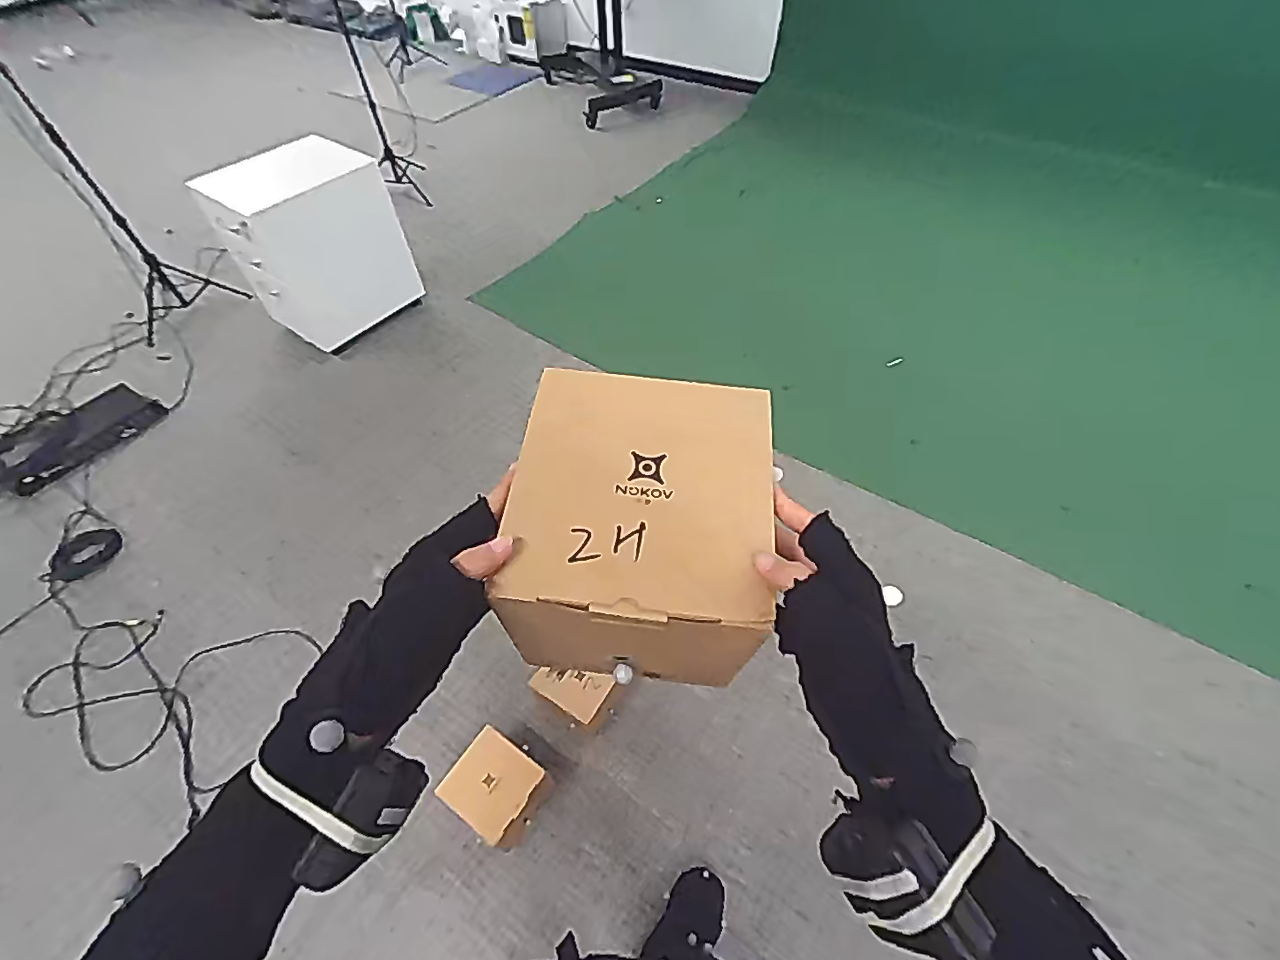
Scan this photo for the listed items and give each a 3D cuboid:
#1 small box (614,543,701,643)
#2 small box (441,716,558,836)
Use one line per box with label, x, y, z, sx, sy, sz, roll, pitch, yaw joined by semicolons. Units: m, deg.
small box;0.048;0.314;1.485;0.179;0.176;0.168;-35;61;-25
small box;-0.309;0.674;1.222;0.179;0.176;0.168;28;59;20
